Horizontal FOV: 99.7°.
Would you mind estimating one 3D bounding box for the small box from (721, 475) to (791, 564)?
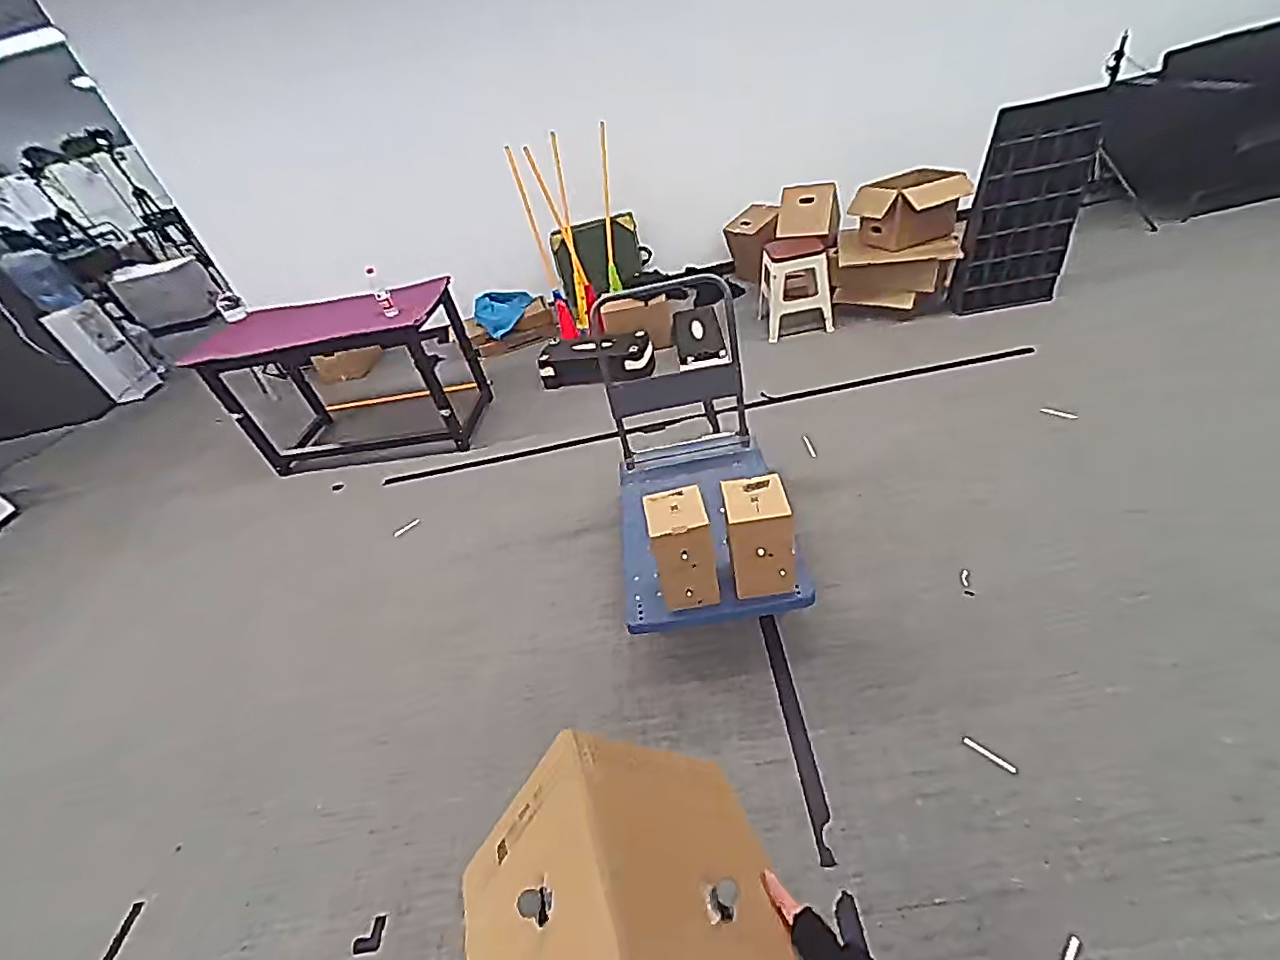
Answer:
[{"bbox_3d":[0.326,0.112,1.529,0.168,0.176,0.179,-9,39,6],"label":"small box"}]

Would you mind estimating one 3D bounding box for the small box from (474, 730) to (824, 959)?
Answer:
[{"bbox_3d":[-0.010,0.321,0.409,0.168,0.179,0.176,-57,29,10],"label":"small box"}]

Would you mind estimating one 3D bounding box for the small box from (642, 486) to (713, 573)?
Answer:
[{"bbox_3d":[0.109,0.148,1.551,0.168,0.176,0.179,-12,39,2],"label":"small box"}]

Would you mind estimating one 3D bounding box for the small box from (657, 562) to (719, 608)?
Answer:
[{"bbox_3d":[0.141,0.273,1.654,0.168,0.176,0.179,-11,38,3],"label":"small box"}]
